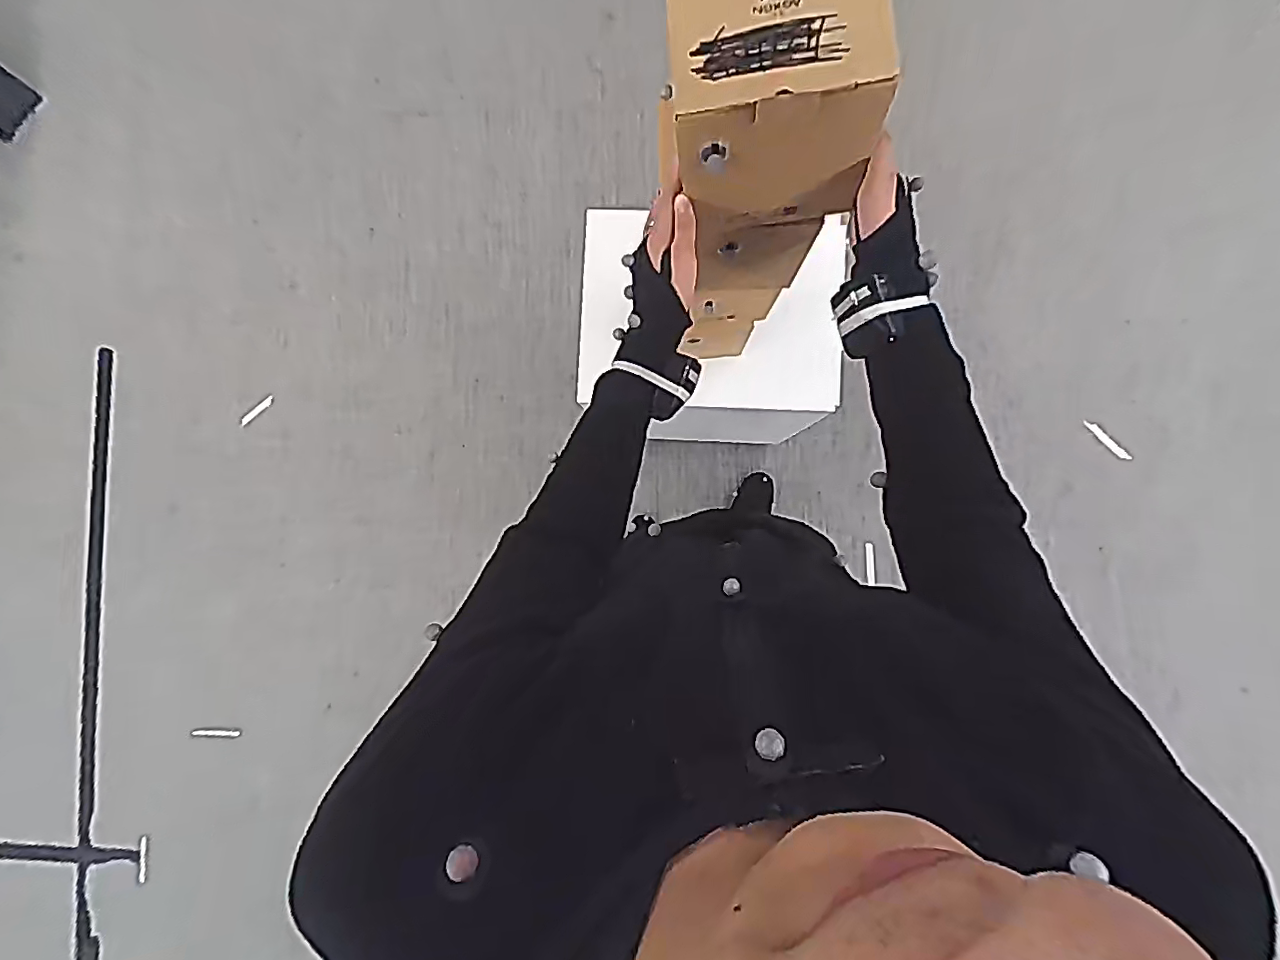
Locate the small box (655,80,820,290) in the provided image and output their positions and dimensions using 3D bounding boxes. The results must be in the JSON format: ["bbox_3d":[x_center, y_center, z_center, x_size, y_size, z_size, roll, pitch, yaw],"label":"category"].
[{"bbox_3d":[0.109,-0.346,0.665,0.179,0.176,0.168,-1,87,2],"label":"small box"}]

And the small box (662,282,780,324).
[{"bbox_3d":[0.117,-0.349,0.831,0.168,0.176,0.179,-4,86,2],"label":"small box"}]

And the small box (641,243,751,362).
[{"bbox_3d":[0.099,-0.323,0.993,0.179,0.176,0.168,-5,87,2],"label":"small box"}]
